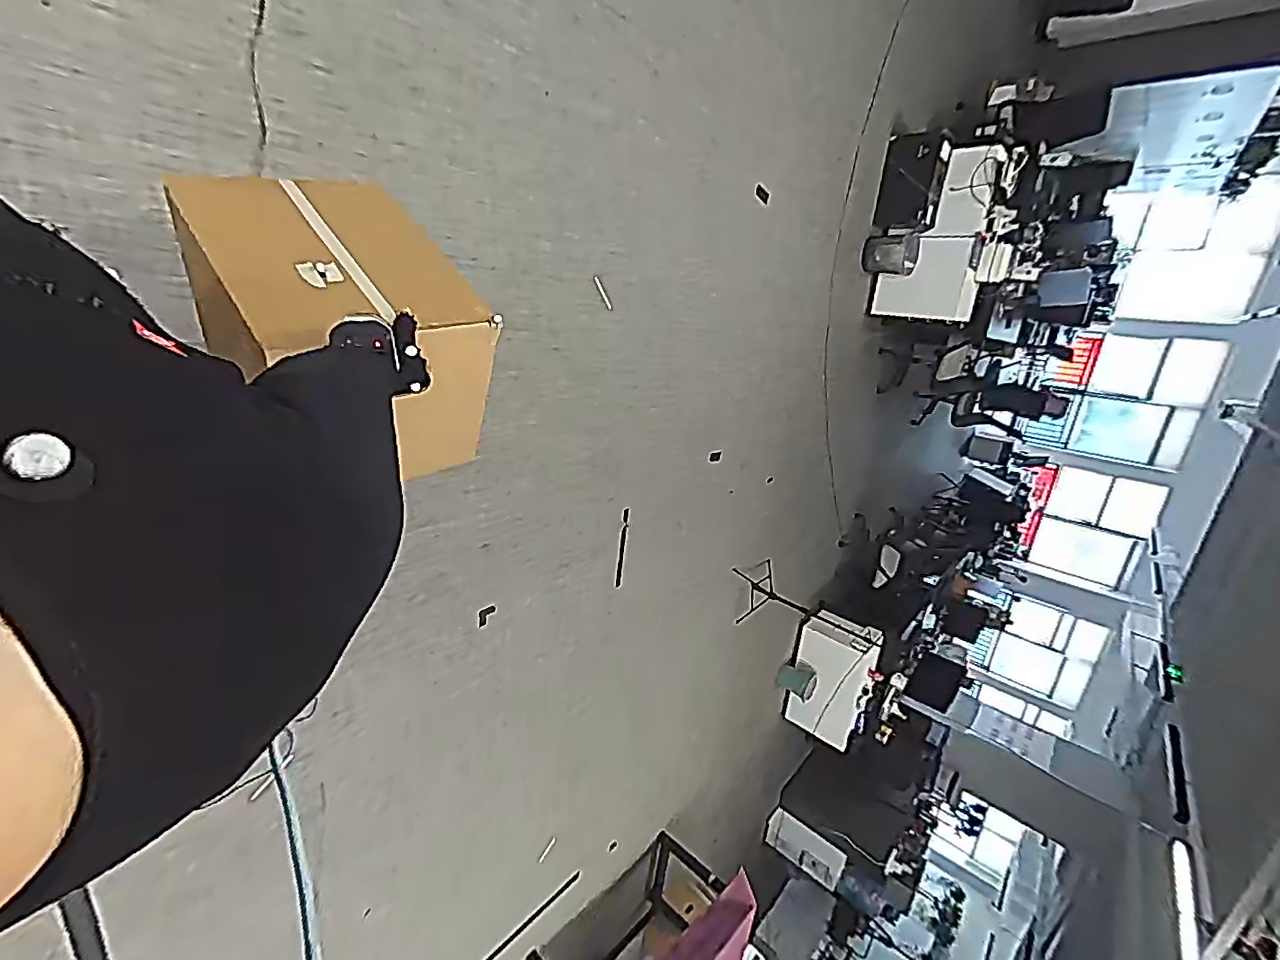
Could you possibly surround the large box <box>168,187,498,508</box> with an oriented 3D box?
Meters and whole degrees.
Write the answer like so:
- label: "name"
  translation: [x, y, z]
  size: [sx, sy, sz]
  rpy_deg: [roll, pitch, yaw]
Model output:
- label: "large box"
  translation: [-0.502, -0.229, 0.907]
  size: [0.320, 0.408, 0.320]
  rpy_deg: [-24, 154, -40]
